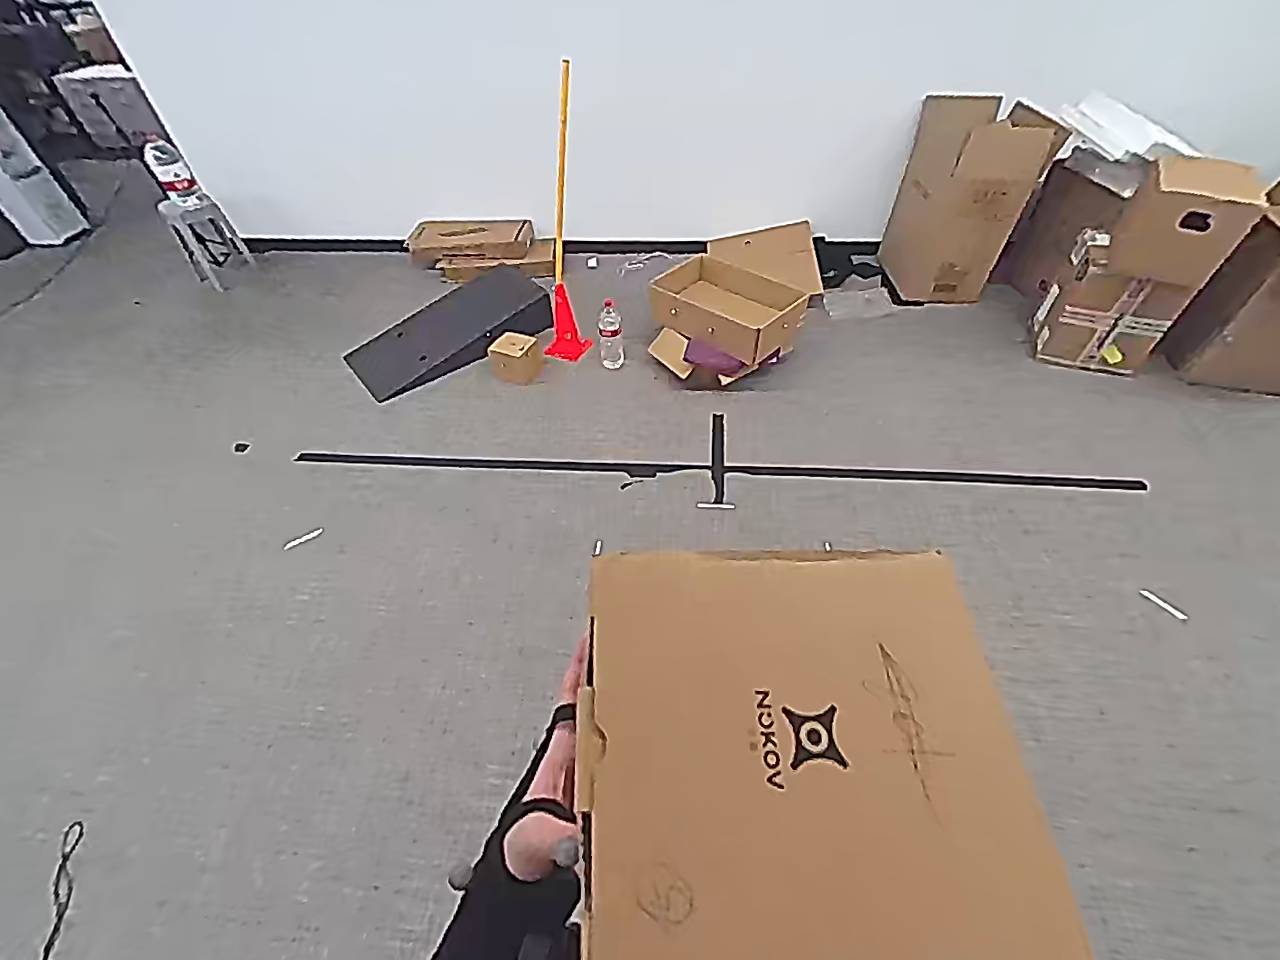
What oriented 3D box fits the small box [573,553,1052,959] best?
[{"bbox_3d":[0.057,0.151,0.299,0.179,0.176,0.168,1,57,-5],"label":"small box"}]
